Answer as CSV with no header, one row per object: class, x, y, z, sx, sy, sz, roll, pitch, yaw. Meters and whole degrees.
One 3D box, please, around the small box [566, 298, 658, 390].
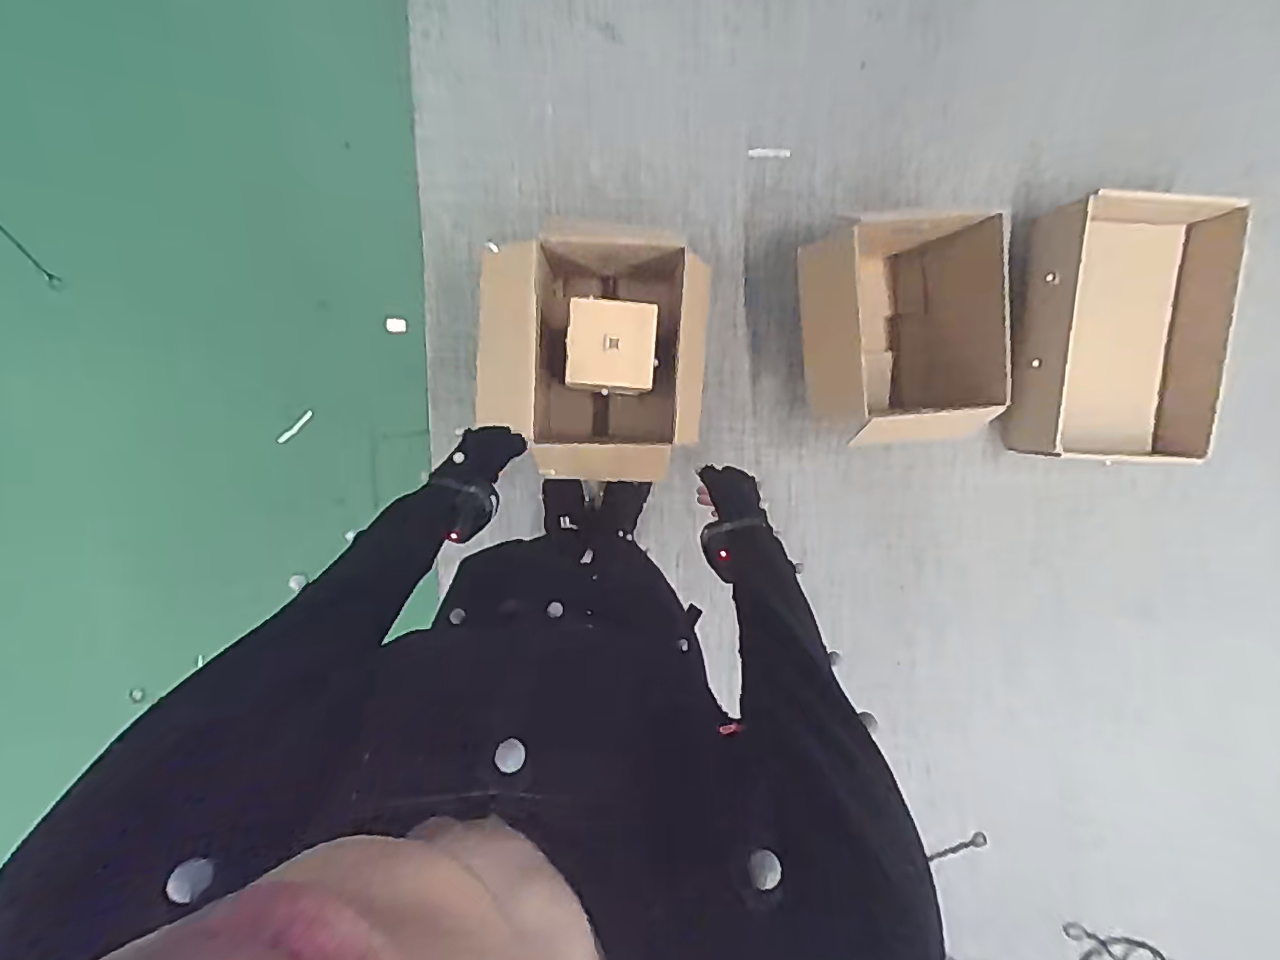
small box,-0.062,-0.282,1.152,0.179,0.176,0.168,3,96,-4
